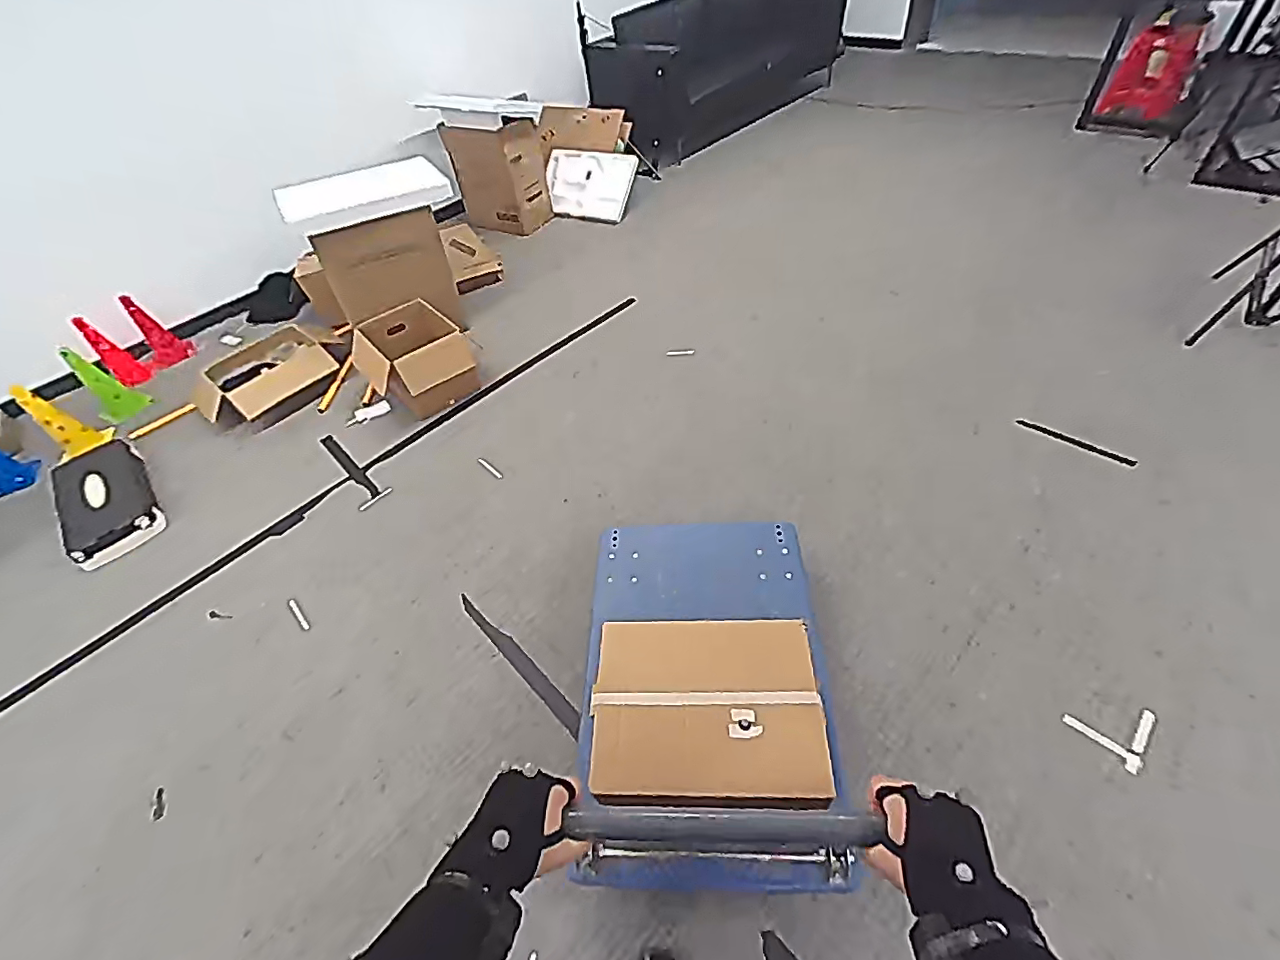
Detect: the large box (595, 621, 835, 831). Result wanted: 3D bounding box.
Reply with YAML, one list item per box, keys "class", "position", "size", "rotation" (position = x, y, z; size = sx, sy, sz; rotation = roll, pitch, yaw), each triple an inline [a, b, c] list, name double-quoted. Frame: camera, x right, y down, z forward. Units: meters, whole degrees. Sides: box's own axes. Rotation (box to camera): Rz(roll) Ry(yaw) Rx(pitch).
- class: "large box"
  position: [0.132, 0.502, 1.095]
  size: [0.408, 0.320, 0.320]
  rotation: [-2, 48, 4]
